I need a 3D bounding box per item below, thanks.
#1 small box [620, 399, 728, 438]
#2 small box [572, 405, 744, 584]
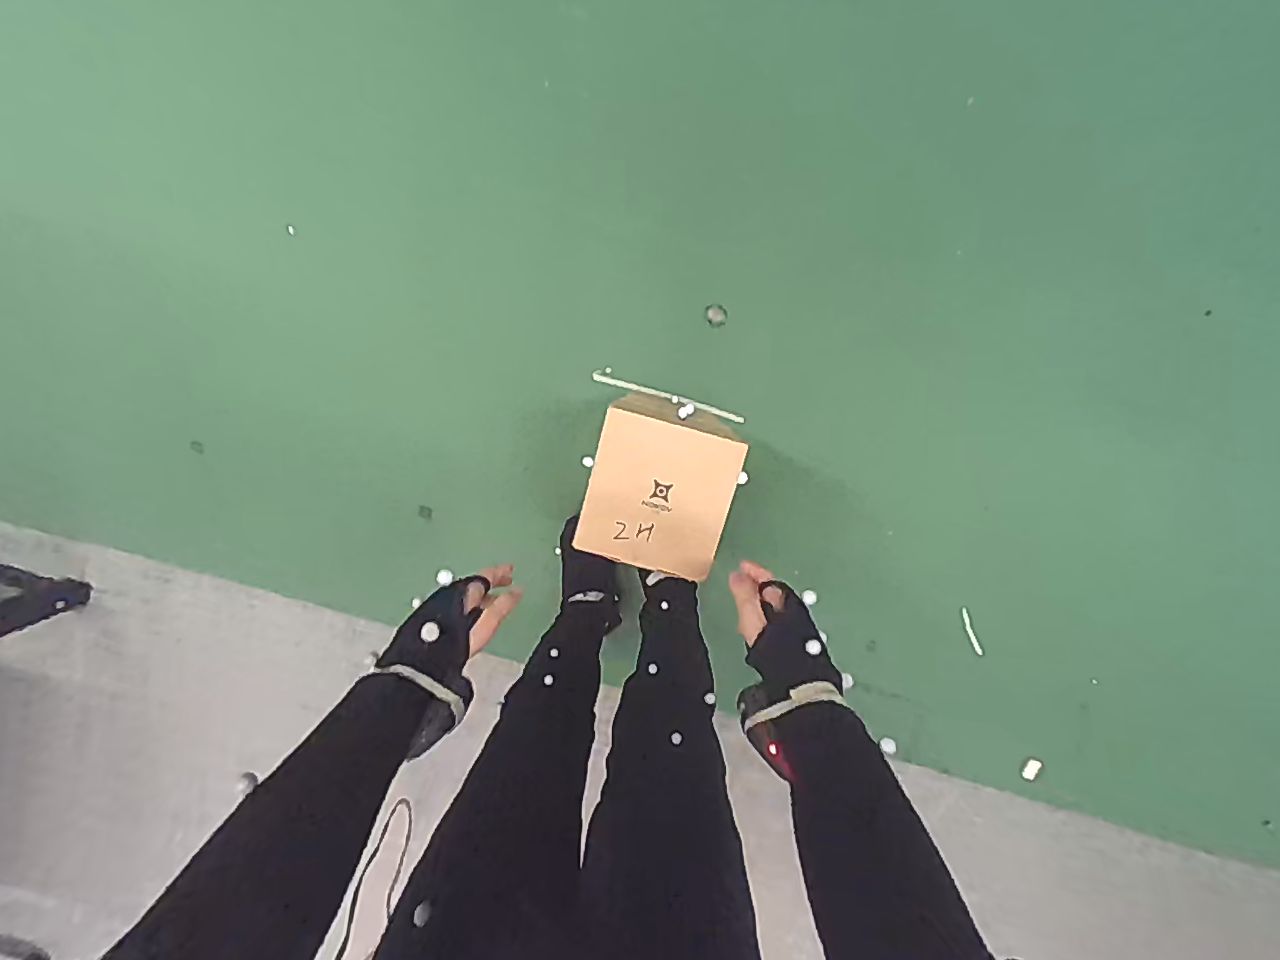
[{"bbox_3d":[0.029,-0.026,0.864,0.168,0.176,0.179,14,102,-1],"label":"small box"},{"bbox_3d":[0.021,0.007,0.703,0.168,0.176,0.179,15,102,-1],"label":"small box"}]
